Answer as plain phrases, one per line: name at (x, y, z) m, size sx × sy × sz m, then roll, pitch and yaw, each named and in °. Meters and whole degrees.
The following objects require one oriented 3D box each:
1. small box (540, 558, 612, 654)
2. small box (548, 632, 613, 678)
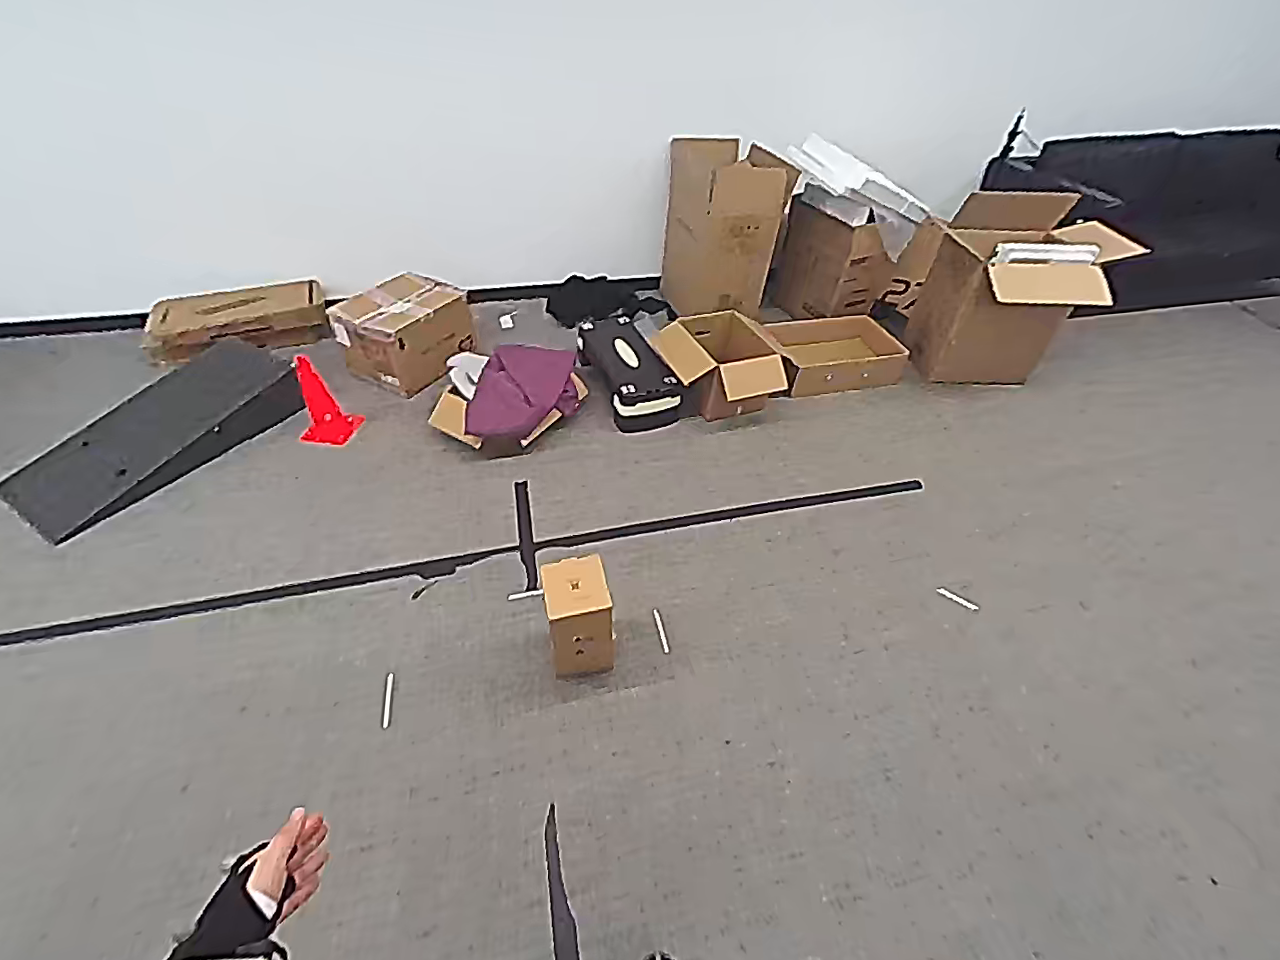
small box at (-0.174, 0.342, 1.467) m, size 0.168 × 0.176 × 0.179 m, roll -11°, pitch 47°, yaw -12°
small box at (-0.175, 0.459, 1.580) m, size 0.179 × 0.176 × 0.168 m, roll -5°, pitch 45°, yaw -10°
